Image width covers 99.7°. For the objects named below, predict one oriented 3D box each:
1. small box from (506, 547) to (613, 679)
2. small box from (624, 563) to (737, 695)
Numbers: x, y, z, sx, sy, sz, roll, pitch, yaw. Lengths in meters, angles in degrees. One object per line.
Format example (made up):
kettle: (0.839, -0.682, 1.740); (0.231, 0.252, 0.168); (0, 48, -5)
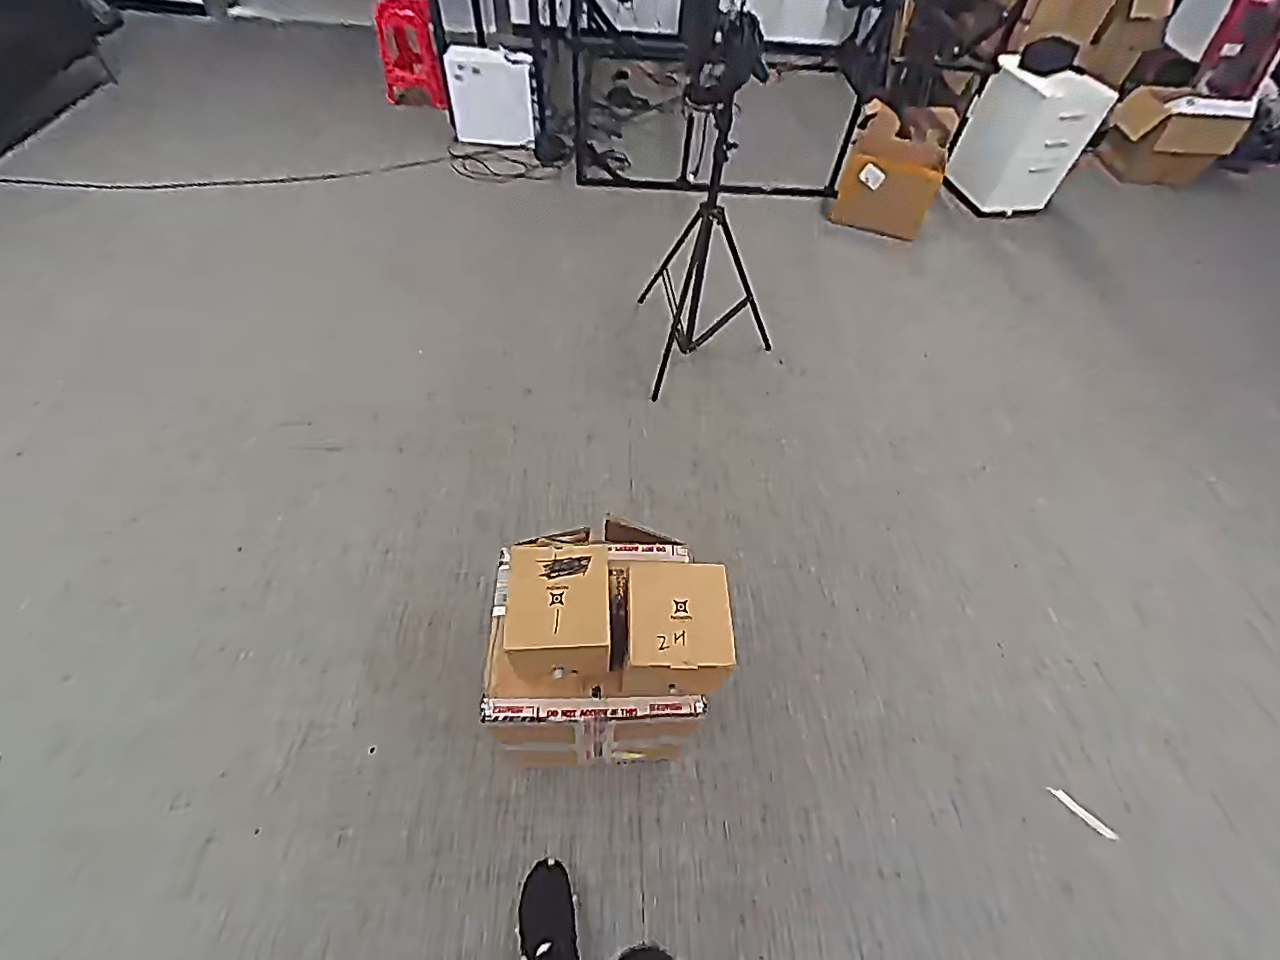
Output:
small box: (-0.133, 0.233, 0.937); (0.168, 0.176, 0.179); (-2, 57, -4)
small box: (0.060, 0.260, 0.934); (0.168, 0.176, 0.179); (1, 56, -5)
